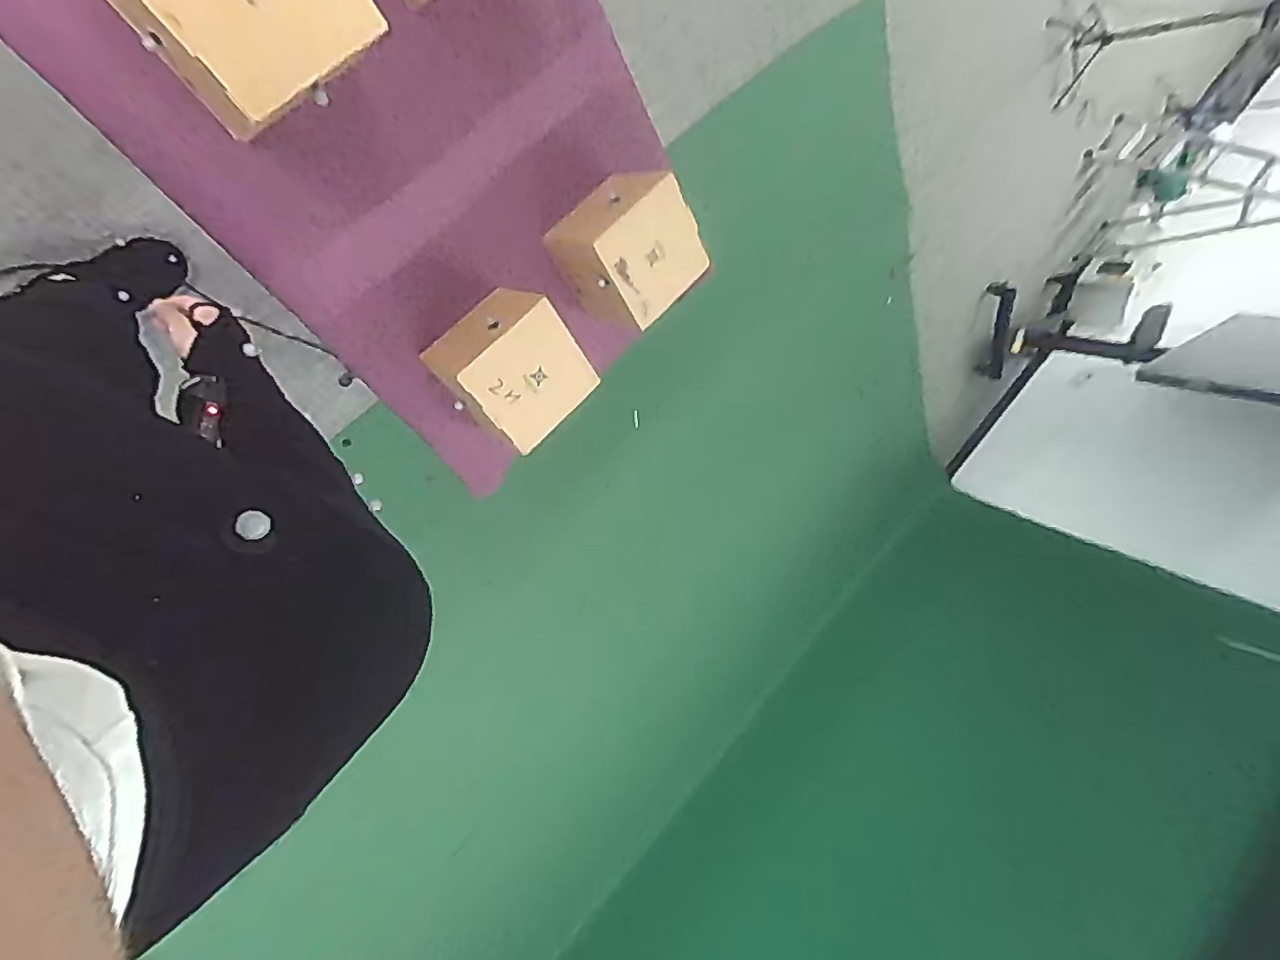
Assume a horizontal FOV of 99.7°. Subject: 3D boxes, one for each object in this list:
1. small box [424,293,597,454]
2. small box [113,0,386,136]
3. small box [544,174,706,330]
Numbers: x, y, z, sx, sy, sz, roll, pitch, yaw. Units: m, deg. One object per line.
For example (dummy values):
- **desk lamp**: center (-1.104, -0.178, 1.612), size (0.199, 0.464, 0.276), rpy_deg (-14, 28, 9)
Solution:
- **small box**: center (-0.206, -0.176, 0.854), size (0.179, 0.176, 0.168), rpy_deg (-46, 131, -13)
- **small box**: center (-0.402, -0.483, 0.547), size (0.179, 0.176, 0.168), rpy_deg (-47, 133, -11)
- **small box**: center (-0.027, -0.381, 0.904), size (0.179, 0.176, 0.168), rpy_deg (-47, 132, -12)
